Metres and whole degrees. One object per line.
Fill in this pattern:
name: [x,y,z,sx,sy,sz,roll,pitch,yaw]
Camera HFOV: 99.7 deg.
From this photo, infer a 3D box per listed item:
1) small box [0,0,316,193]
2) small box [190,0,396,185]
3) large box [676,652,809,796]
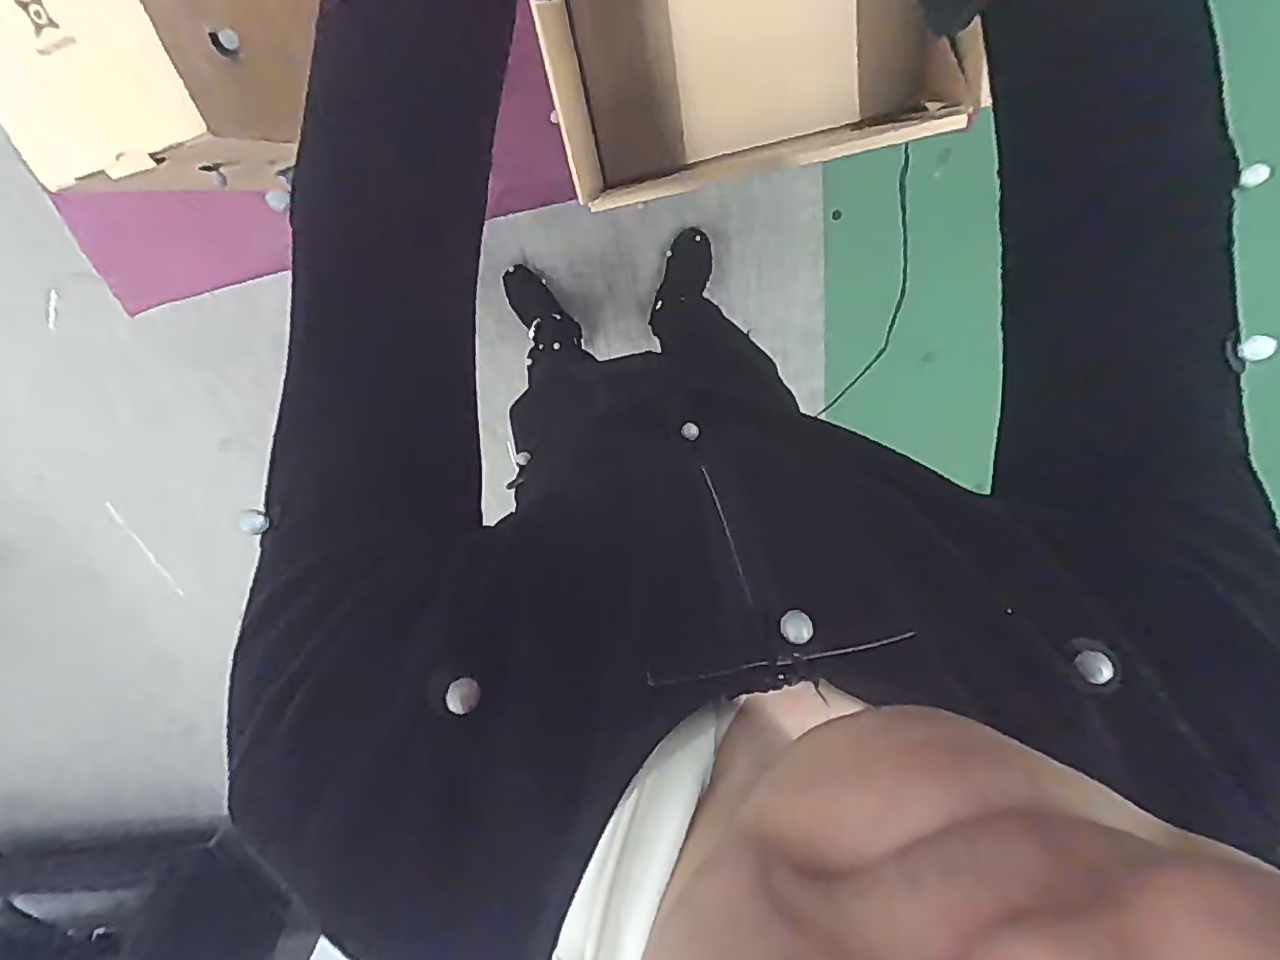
small box: [-0.424,-0.362,0.458,0.168,0.176,0.179,-10,119,9]
small box: [-0.414,-0.439,0.603,0.179,0.176,0.168,-12,118,9]
large box: [0.387,0.969,2.150,0.408,0.320,0.320,-38,112,21]
